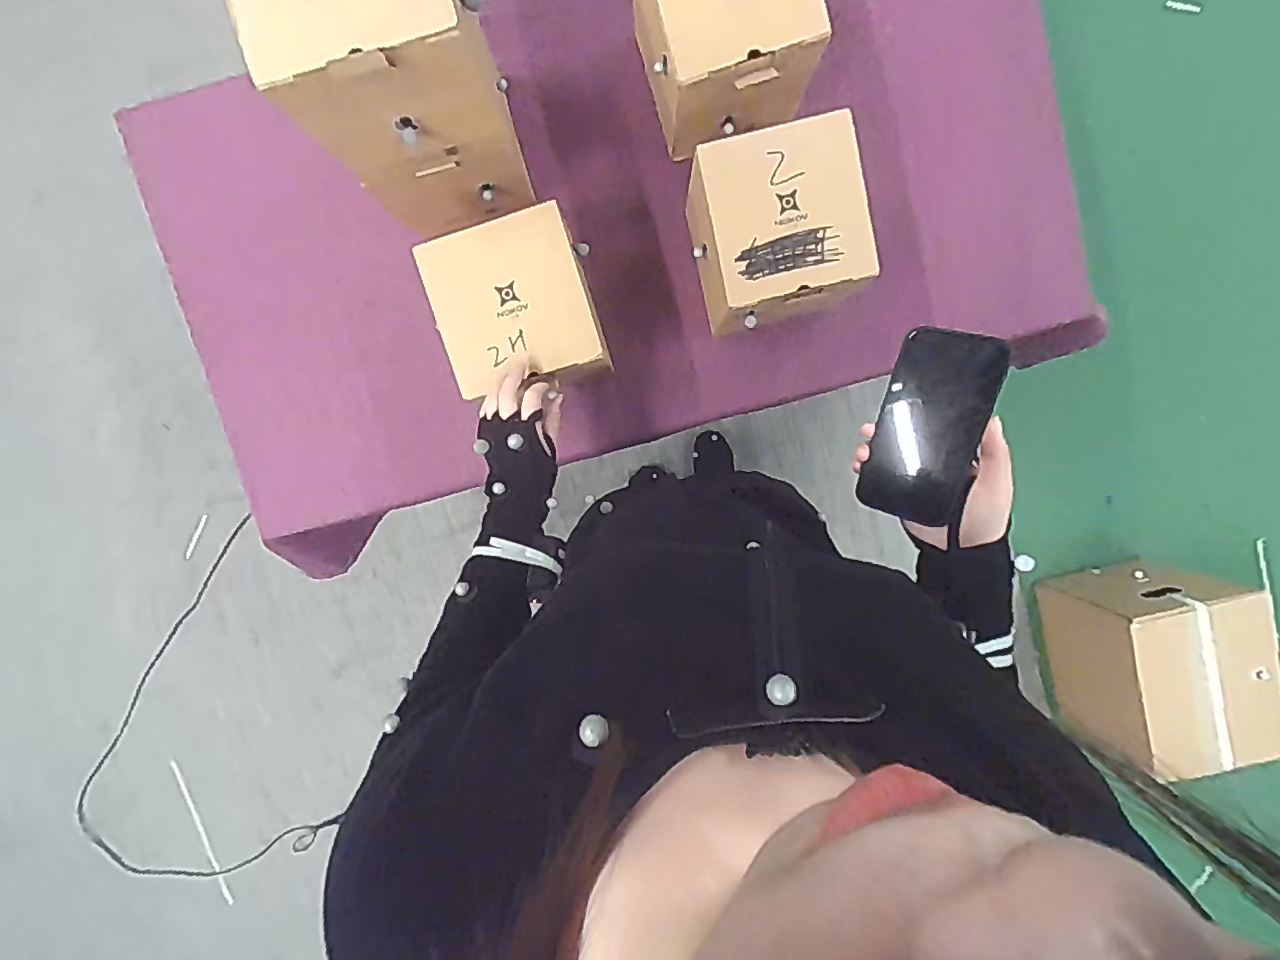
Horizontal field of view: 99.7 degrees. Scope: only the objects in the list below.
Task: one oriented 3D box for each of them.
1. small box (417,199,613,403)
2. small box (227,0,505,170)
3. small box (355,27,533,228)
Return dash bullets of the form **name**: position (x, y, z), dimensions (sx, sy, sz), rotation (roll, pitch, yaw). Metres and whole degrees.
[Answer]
- **small box**: position (-0.138, -0.202, 0.665), dimensions (0.168, 0.176, 0.179), rotation (-17, 95, 3)
- **small box**: position (-0.235, -0.406, 0.481), dimensions (0.168, 0.176, 0.179), rotation (-15, 96, 1)
- **small box**: position (-0.239, -0.424, 0.645), dimensions (0.168, 0.176, 0.179), rotation (-15, 96, 2)
